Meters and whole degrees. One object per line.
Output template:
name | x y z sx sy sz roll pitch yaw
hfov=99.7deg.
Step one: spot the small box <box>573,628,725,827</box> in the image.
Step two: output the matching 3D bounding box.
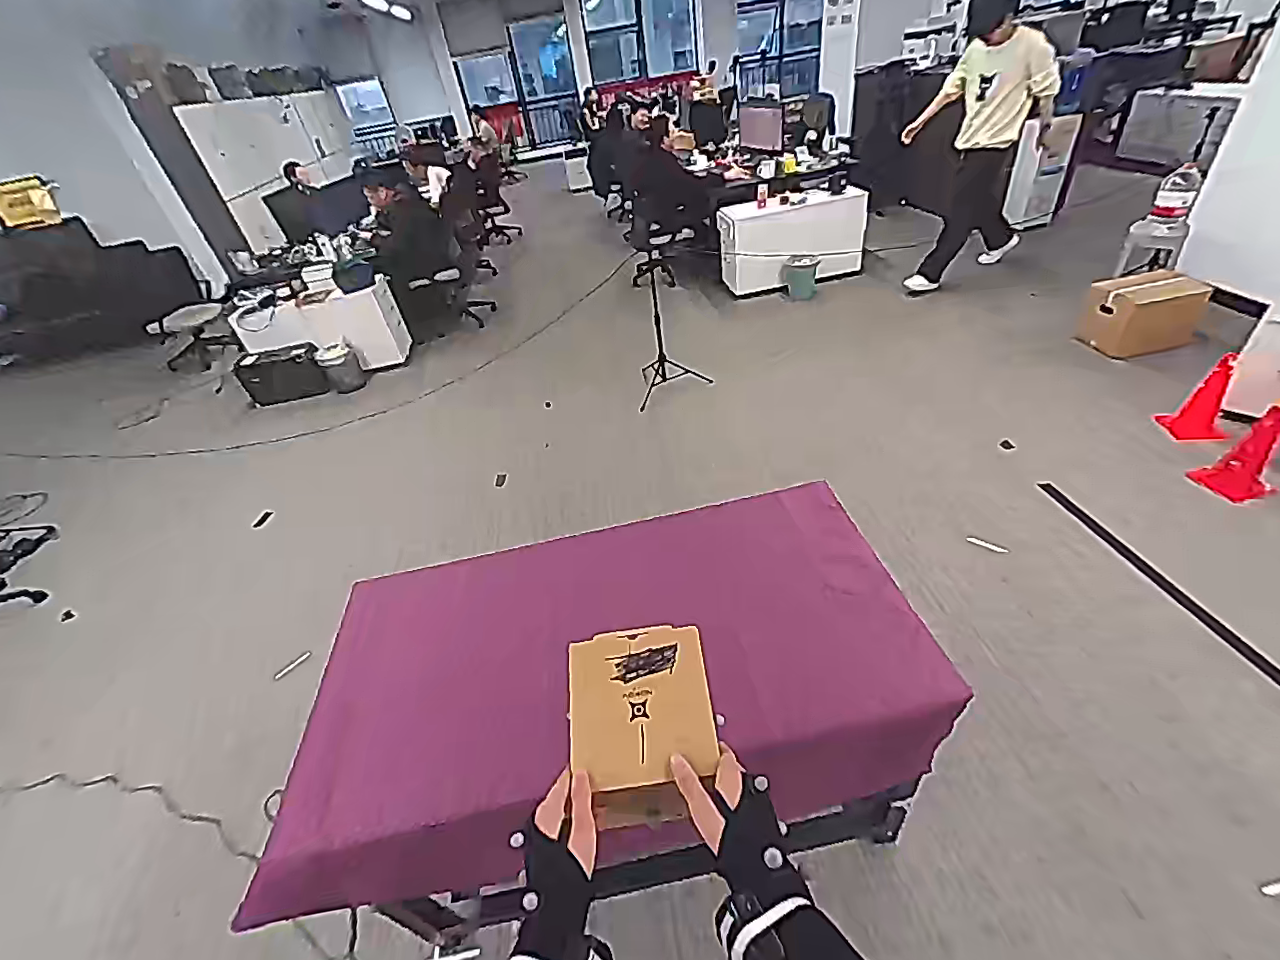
small box | 0.011 0.317 0.692 0.168 0.176 0.179 -9 46 1
